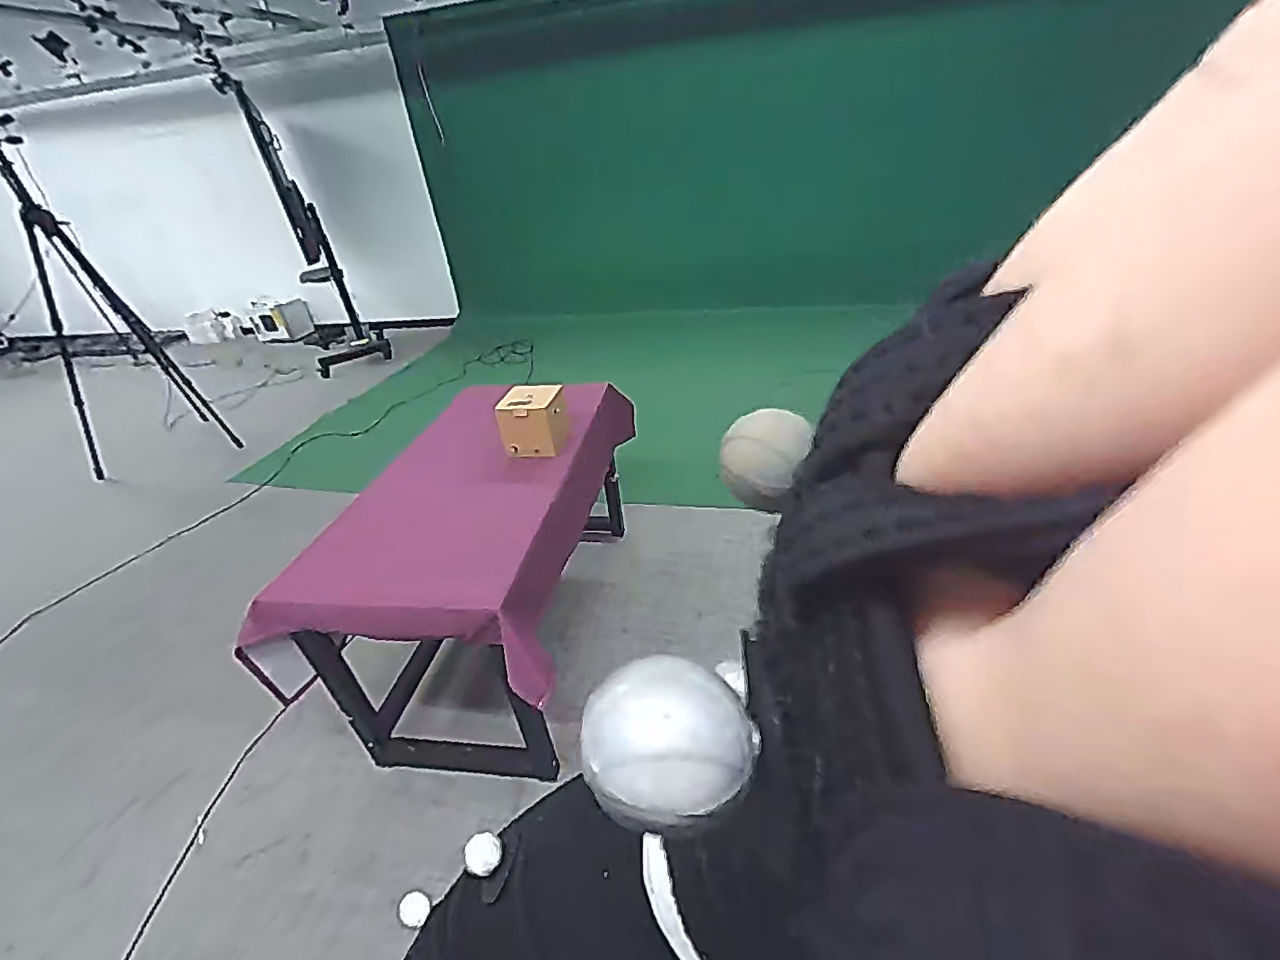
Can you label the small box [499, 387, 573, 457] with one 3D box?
[{"bbox_3d":[-0.323,-0.183,1.724,0.168,0.176,0.179,1,33,12],"label":"small box"}]
